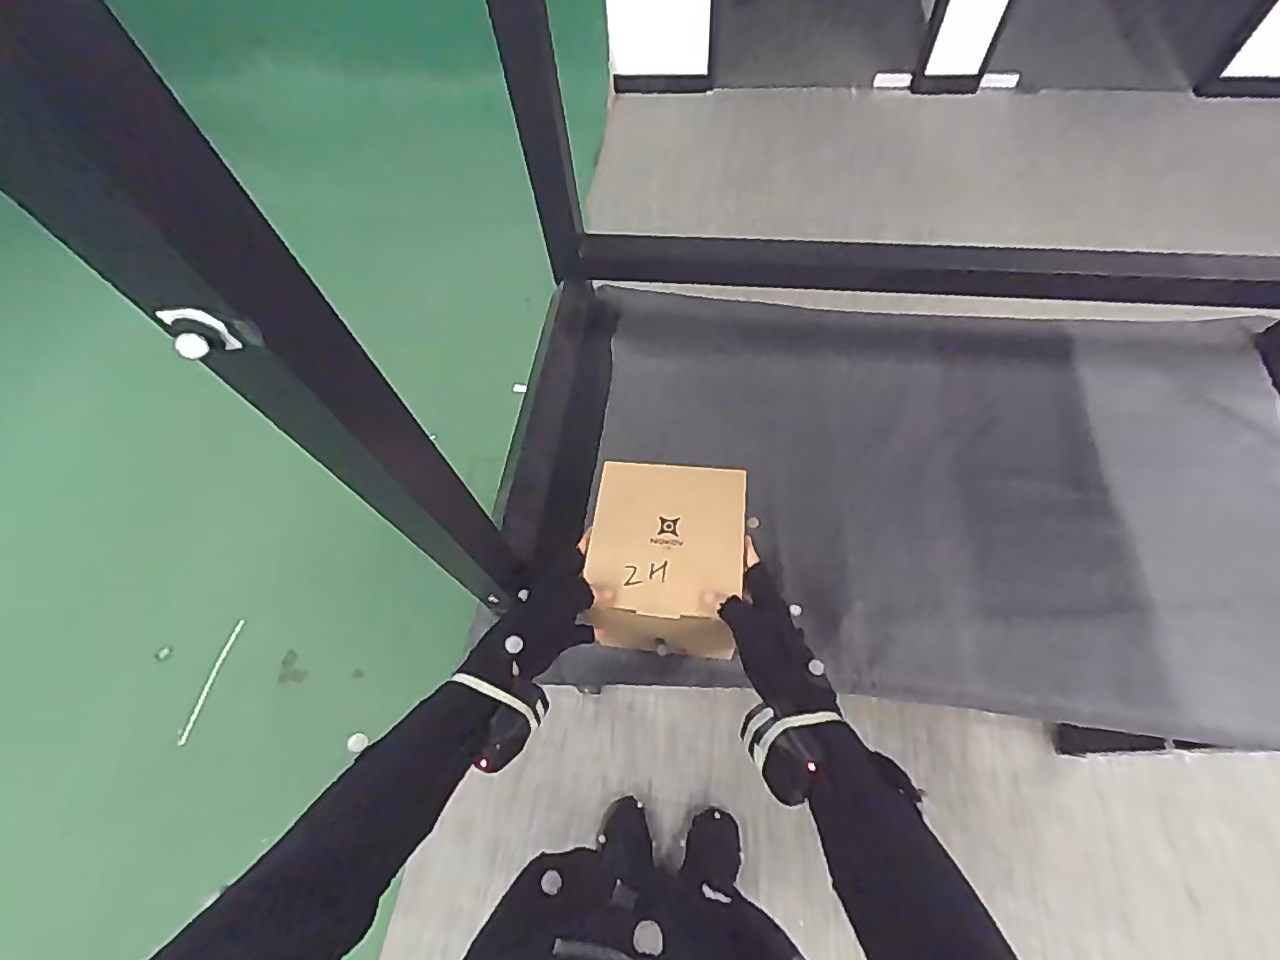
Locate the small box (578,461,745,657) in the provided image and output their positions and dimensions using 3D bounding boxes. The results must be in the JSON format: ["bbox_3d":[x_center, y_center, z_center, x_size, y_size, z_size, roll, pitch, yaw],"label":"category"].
[{"bbox_3d":[0.033,0.098,0.648,0.168,0.176,0.179,3,60,8],"label":"small box"}]
